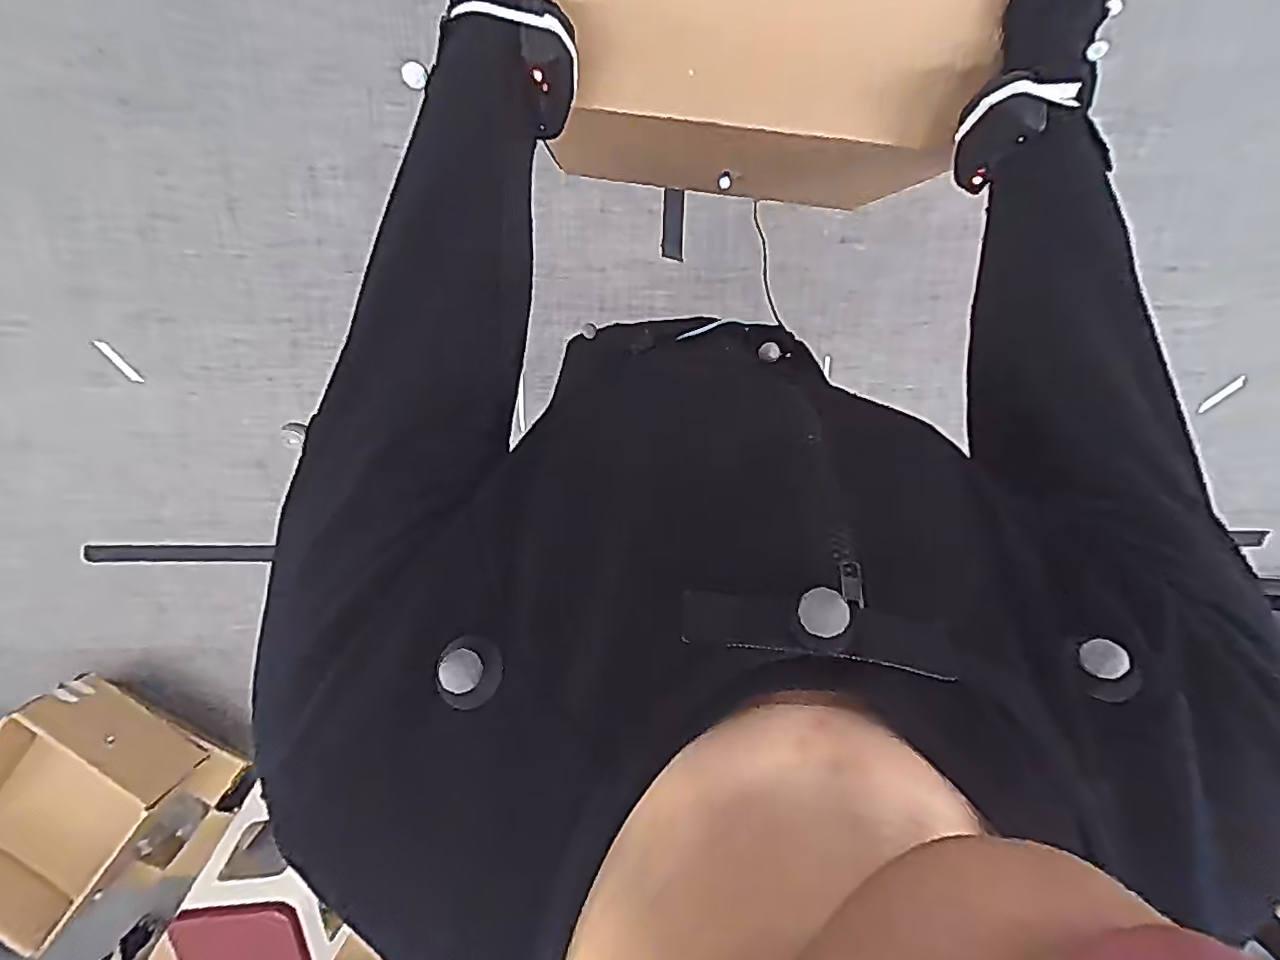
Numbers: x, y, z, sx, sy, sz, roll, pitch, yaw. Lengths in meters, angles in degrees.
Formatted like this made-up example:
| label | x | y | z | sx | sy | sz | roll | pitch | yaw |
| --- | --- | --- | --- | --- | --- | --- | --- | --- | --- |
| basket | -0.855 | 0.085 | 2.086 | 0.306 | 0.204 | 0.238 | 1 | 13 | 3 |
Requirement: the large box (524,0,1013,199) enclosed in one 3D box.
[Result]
| label | x | y | z | sx | sy | sz | roll | pitch | yaw |
| --- | --- | --- | --- | --- | --- | --- | --- | --- | --- |
| large box | 0.114 | -0.498 | 0.559 | 0.408 | 0.320 | 0.320 | 6 | 108 | -2 |
